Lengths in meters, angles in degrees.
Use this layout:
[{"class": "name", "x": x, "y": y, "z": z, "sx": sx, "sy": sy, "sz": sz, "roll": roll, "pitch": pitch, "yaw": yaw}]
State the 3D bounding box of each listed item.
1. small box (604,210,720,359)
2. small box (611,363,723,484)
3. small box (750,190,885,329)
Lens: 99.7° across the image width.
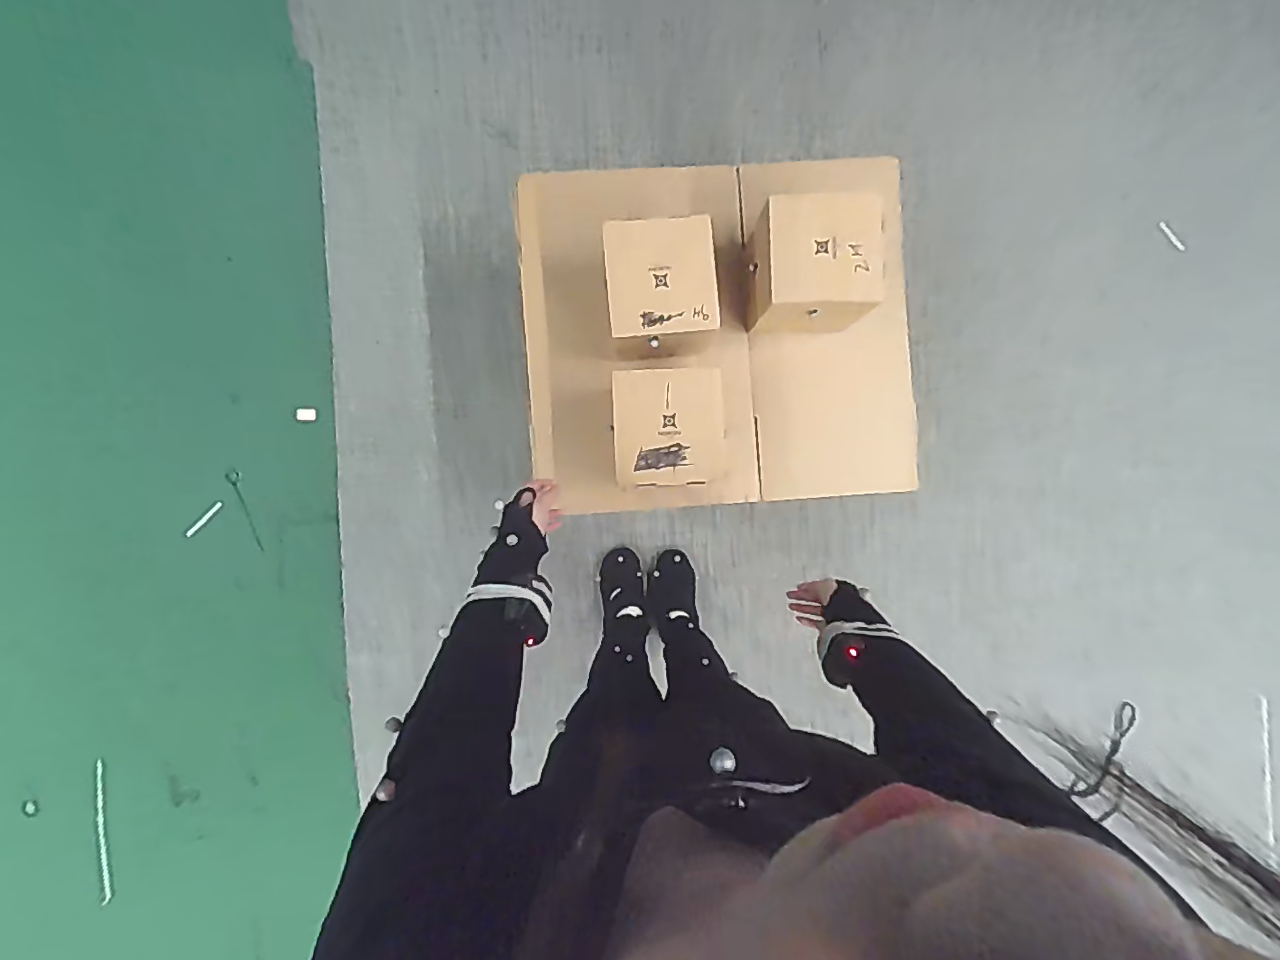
[{"class": "small box", "x": 0.031, "y": -0.307, "z": 0.880, "sx": 0.168, "sy": 0.176, "sz": 0.179, "roll": -5, "pitch": 89, "yaw": 0}, {"class": "small box", "x": 0.041, "y": -0.085, "z": 0.882, "sx": 0.168, "sy": 0.176, "sz": 0.179, "roll": -2, "pitch": 90, "yaw": -1}, {"class": "small box", "x": 0.280, "y": -0.351, "z": 0.889, "sx": 0.179, "sy": 0.176, "sz": 0.168, "roll": -1, "pitch": 90, "yaw": 0}]
